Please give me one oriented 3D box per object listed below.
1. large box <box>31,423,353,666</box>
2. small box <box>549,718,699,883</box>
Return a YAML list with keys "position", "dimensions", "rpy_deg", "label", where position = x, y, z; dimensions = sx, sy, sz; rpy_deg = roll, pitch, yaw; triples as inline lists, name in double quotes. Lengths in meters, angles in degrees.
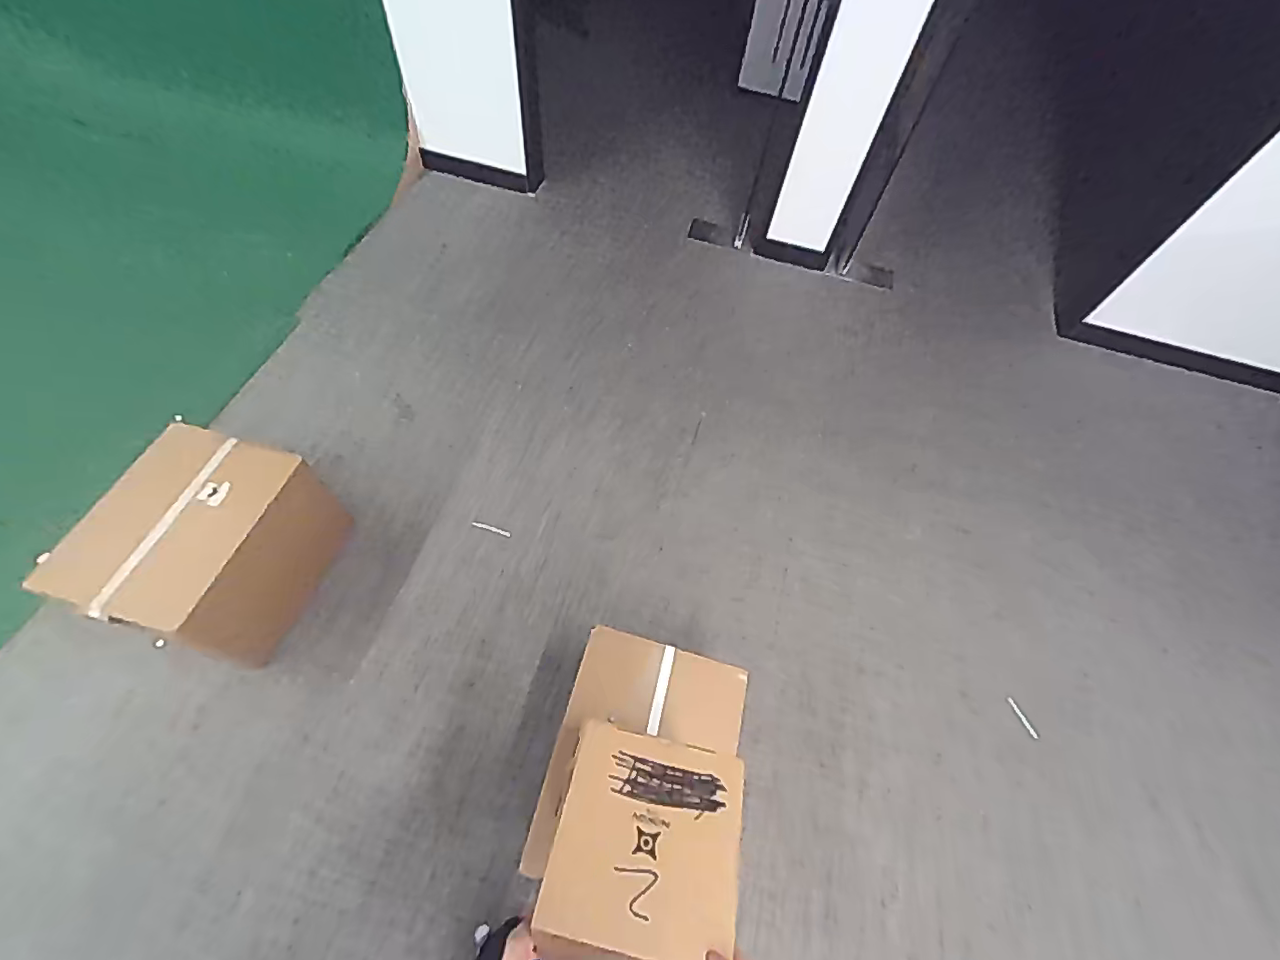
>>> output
- position: [-0.934, 0.150, 1.203]
  dimensions: [0.320, 0.320, 0.408]
  rpy_deg: [16, 58, 4]
  label: "large box"
- position: [-0.022, 0.480, 0.824]
  dimensions: [0.179, 0.176, 0.168]
  rpy_deg: [14, 59, 6]
  label: "small box"
